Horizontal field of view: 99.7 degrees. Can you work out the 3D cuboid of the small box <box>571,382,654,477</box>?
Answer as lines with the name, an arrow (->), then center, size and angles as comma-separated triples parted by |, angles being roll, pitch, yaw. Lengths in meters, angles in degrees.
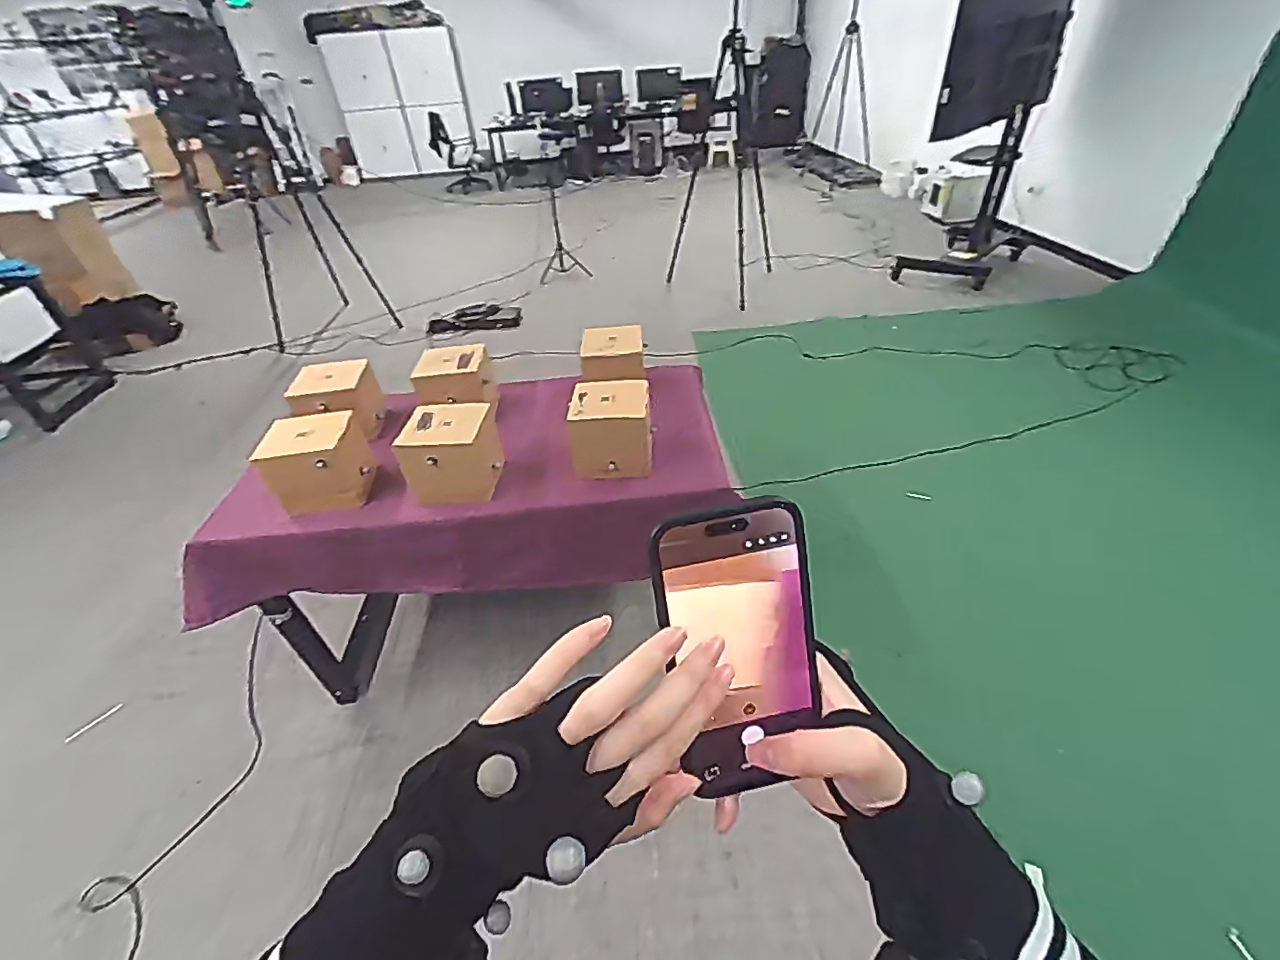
small box -> -0.057, -0.119, 1.286 | 0.179, 0.176, 0.168 | -1, 39, 4

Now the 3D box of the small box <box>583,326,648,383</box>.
small box -> -0.063, -0.317, 1.529 | 0.168, 0.176, 0.179 | -4, 40, 2

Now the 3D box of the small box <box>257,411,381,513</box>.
small box -> -0.735, -0.040, 1.260 | 0.179, 0.176, 0.168 | -8, 39, -6

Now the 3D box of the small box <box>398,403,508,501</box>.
small box -> -0.422, -0.062, 1.254 | 0.179, 0.176, 0.168 | -1, 39, 3
